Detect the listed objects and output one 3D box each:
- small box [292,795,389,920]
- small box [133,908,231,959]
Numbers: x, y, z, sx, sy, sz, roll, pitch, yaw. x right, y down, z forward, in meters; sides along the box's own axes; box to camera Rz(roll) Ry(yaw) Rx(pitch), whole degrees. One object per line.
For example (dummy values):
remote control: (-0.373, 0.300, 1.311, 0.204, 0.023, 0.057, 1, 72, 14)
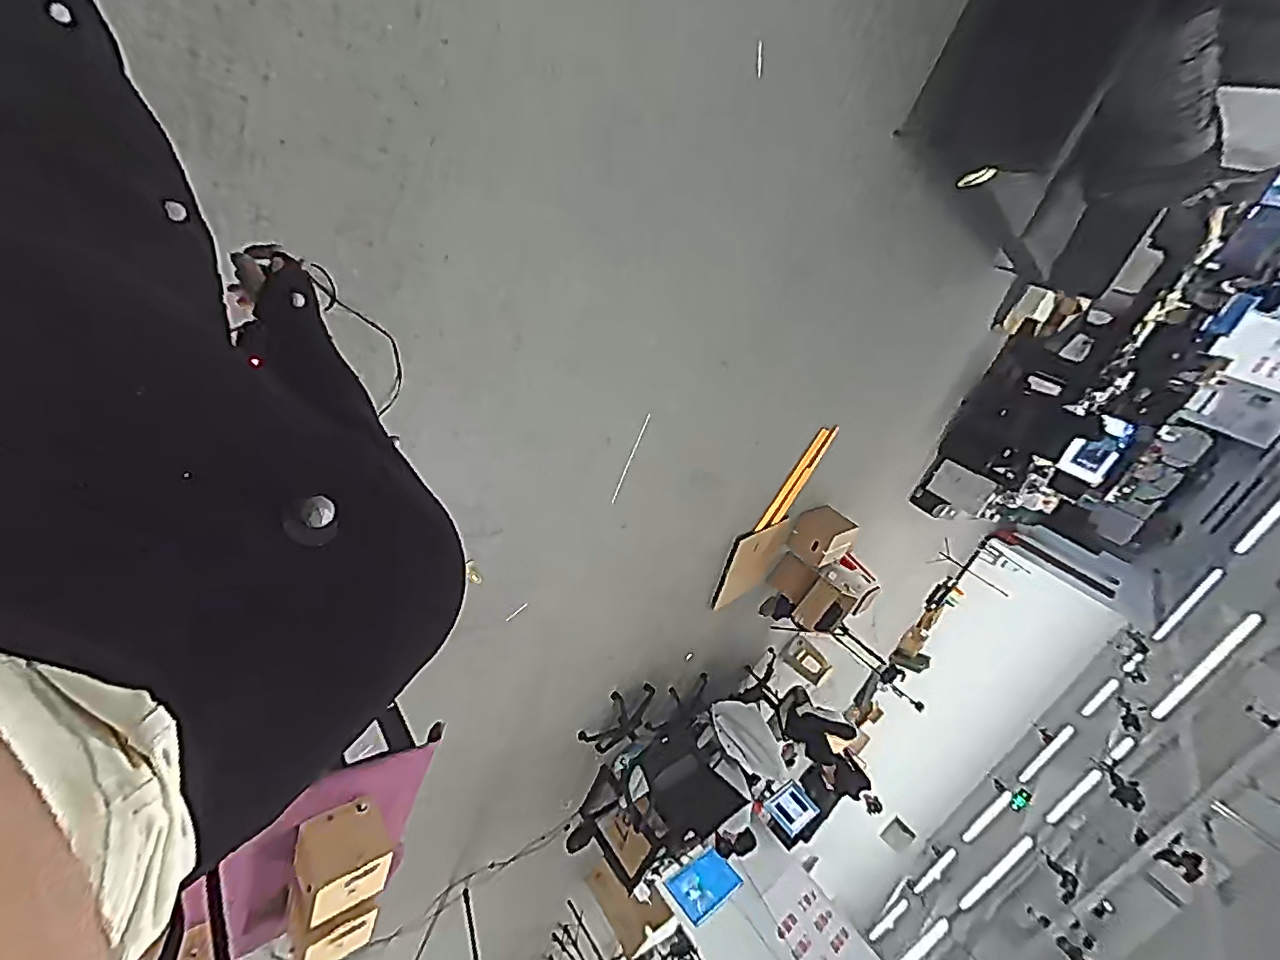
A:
small box: (-0.745, 0.918, 1.337, 0.168, 0.176, 0.179, -3, 126, -44)
small box: (-1.047, 1.142, 1.236, 0.168, 0.176, 0.179, 0, 121, -45)
